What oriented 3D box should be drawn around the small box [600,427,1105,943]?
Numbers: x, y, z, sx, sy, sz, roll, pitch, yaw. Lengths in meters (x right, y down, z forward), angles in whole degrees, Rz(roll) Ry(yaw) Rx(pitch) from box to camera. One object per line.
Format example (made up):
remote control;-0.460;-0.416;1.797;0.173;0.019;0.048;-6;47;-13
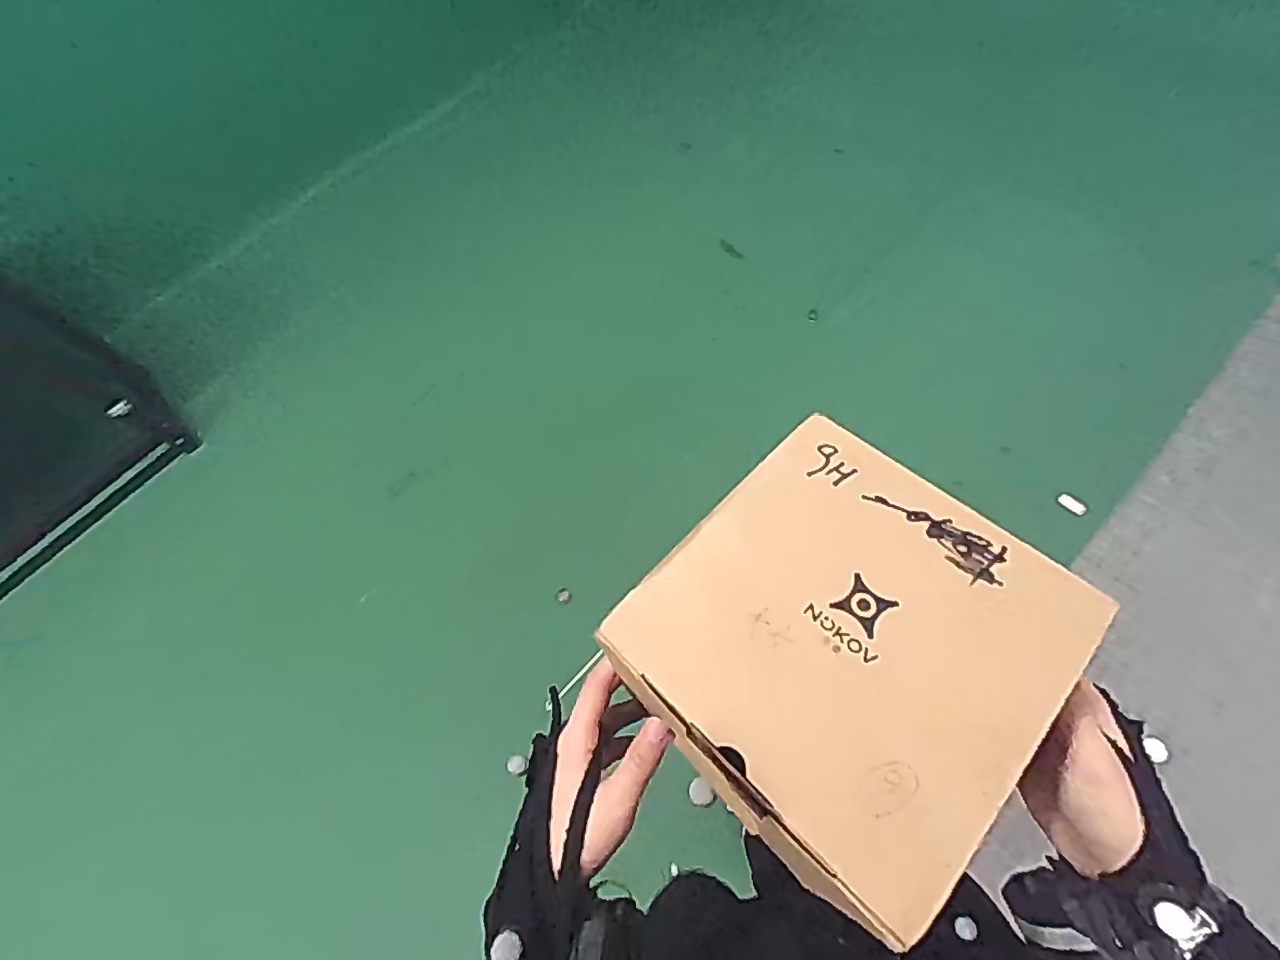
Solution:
small box;0.103;0.110;0.323;0.179;0.176;0.168;-41;65;-17
